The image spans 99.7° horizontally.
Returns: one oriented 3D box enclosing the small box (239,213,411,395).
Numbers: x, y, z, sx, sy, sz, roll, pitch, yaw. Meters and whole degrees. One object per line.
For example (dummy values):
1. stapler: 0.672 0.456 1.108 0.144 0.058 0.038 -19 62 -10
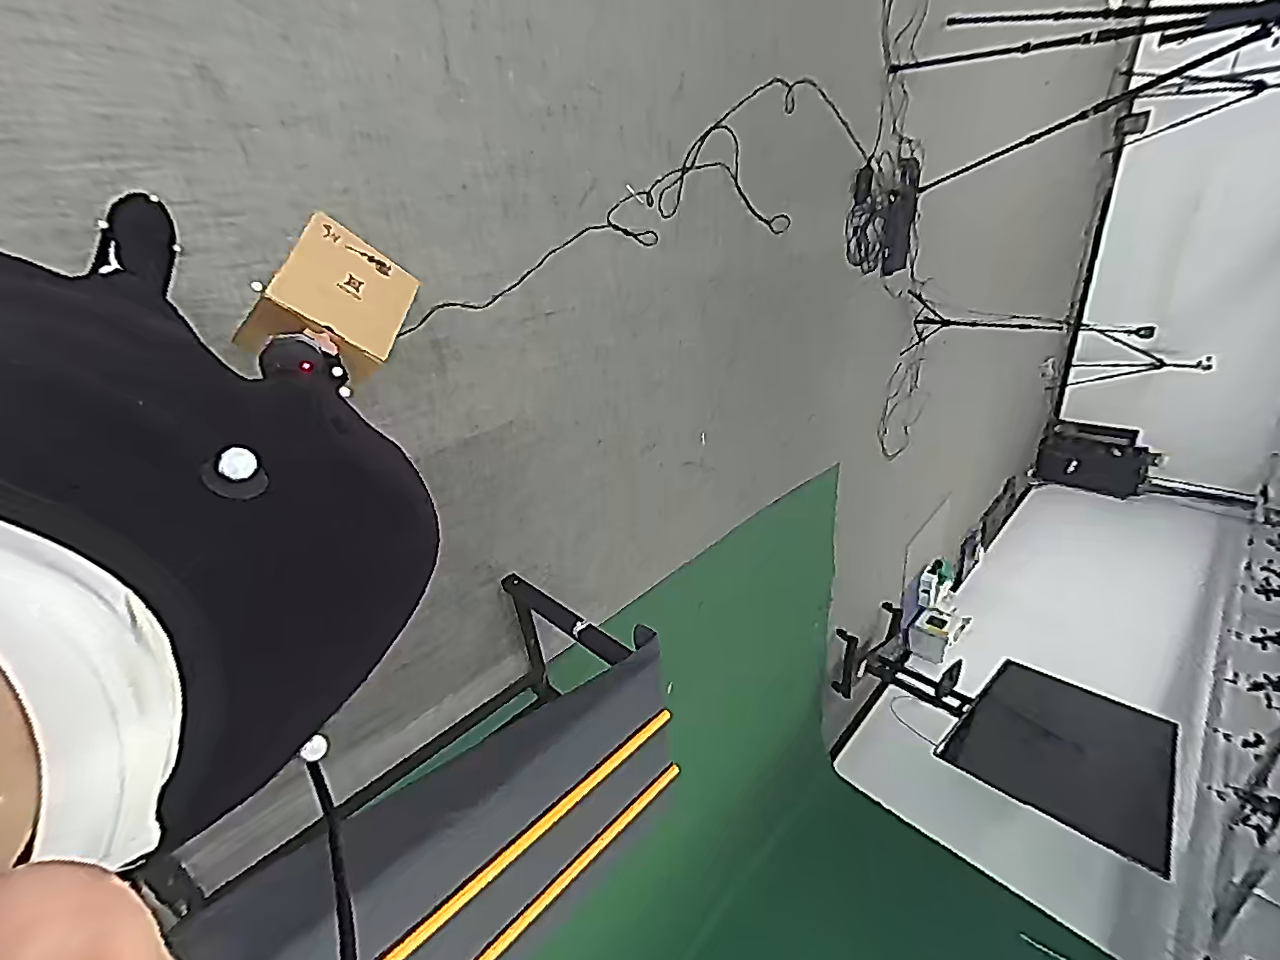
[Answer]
1. small box: -0.494 -0.261 0.846 0.168 0.176 0.179 29 55 -37
